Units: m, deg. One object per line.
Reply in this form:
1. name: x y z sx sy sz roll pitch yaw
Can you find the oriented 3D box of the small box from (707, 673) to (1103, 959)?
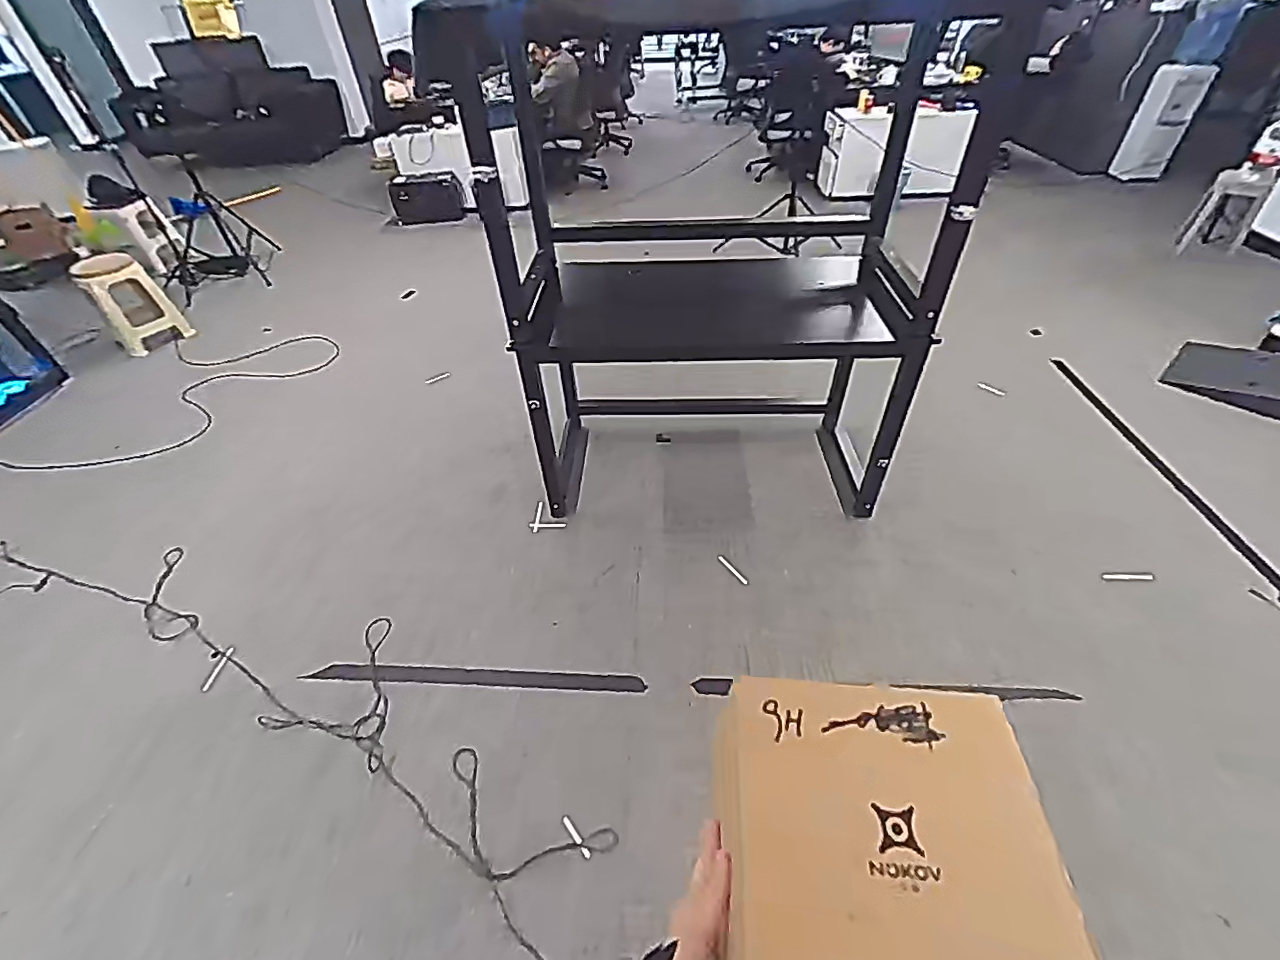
1. small box: 0.134 0.244 0.337 0.168 0.176 0.179 4 48 1
